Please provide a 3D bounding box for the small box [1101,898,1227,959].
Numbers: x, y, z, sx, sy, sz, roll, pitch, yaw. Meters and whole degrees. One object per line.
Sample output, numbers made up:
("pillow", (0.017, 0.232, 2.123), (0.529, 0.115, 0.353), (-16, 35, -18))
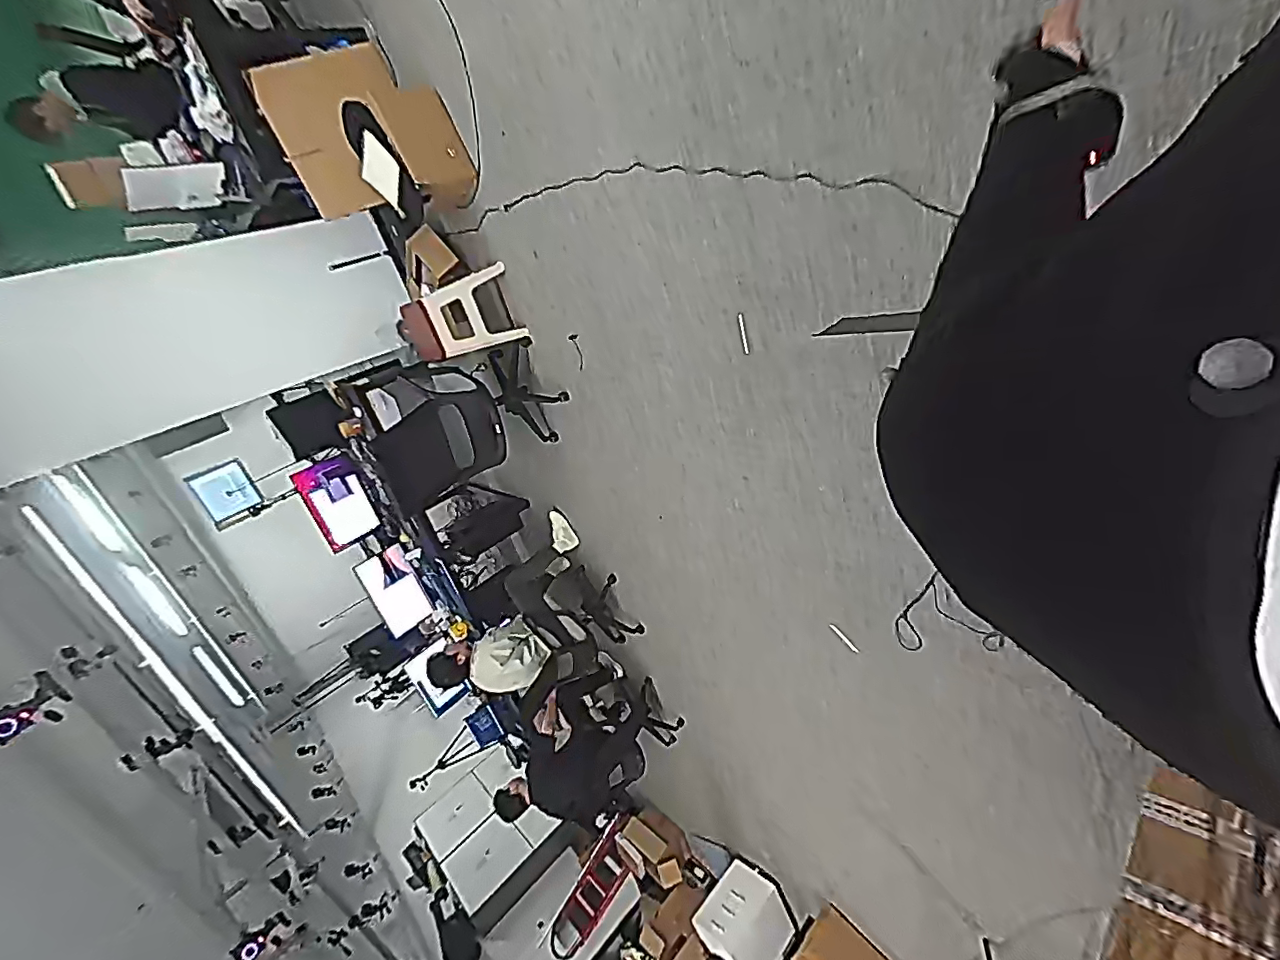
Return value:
("small box", (1.157, 1.080, 1.193), (0.179, 0.176, 0.168), (2, 116, 53))
